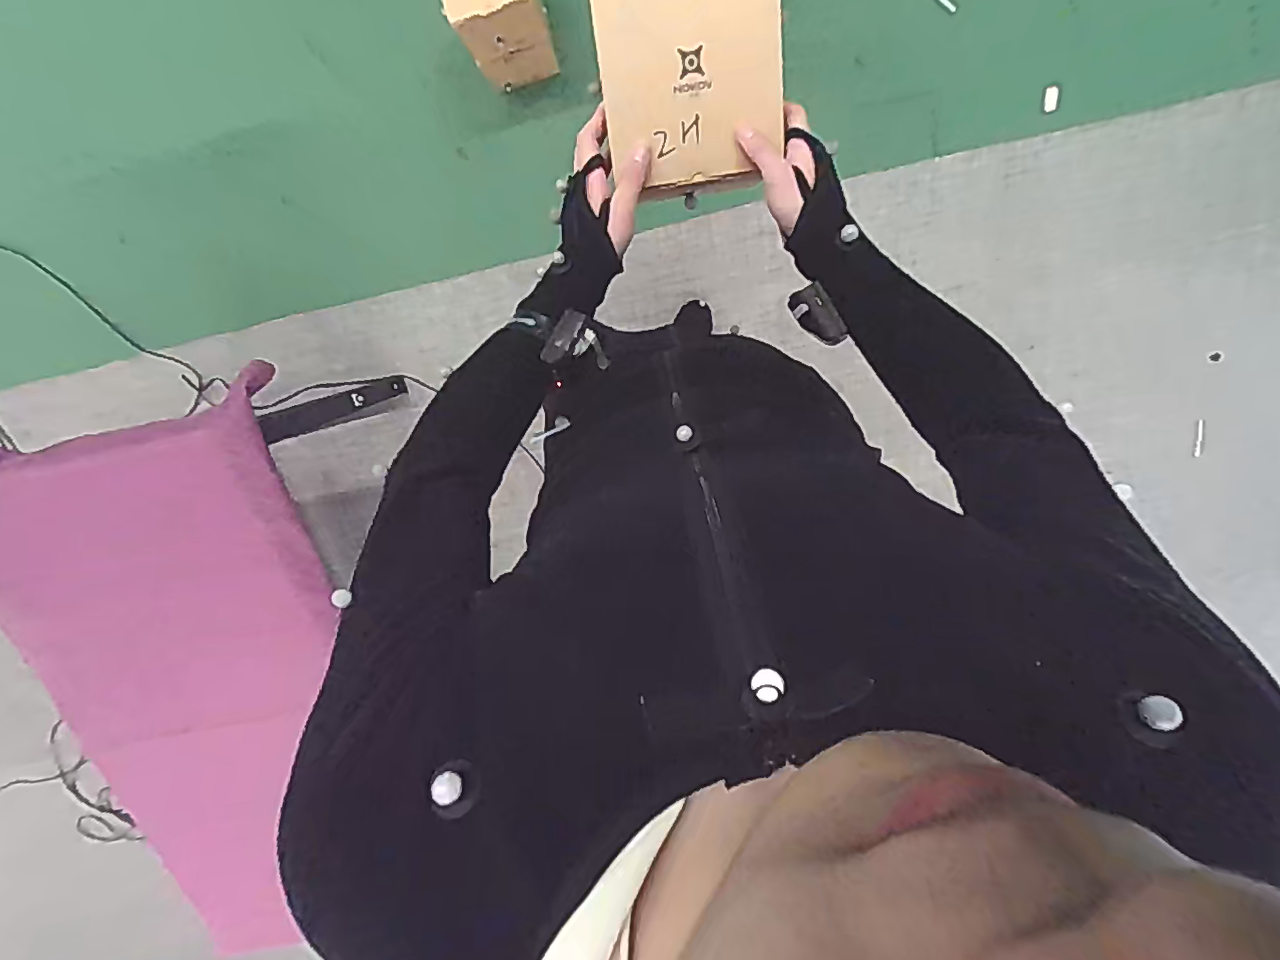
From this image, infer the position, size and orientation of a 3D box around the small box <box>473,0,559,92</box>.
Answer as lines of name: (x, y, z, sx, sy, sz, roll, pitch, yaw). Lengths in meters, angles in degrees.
small box: (-0.296, -1.027, 1.241, 0.168, 0.176, 0.179, -13, 106, 6)

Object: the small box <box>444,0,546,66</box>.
small box: (-0.302, -0.985, 1.084, 0.168, 0.176, 0.179, -15, 107, 7)

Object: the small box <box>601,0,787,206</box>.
small box: (0.052, -0.398, 0.565, 0.168, 0.176, 0.179, -6, 114, 3)
